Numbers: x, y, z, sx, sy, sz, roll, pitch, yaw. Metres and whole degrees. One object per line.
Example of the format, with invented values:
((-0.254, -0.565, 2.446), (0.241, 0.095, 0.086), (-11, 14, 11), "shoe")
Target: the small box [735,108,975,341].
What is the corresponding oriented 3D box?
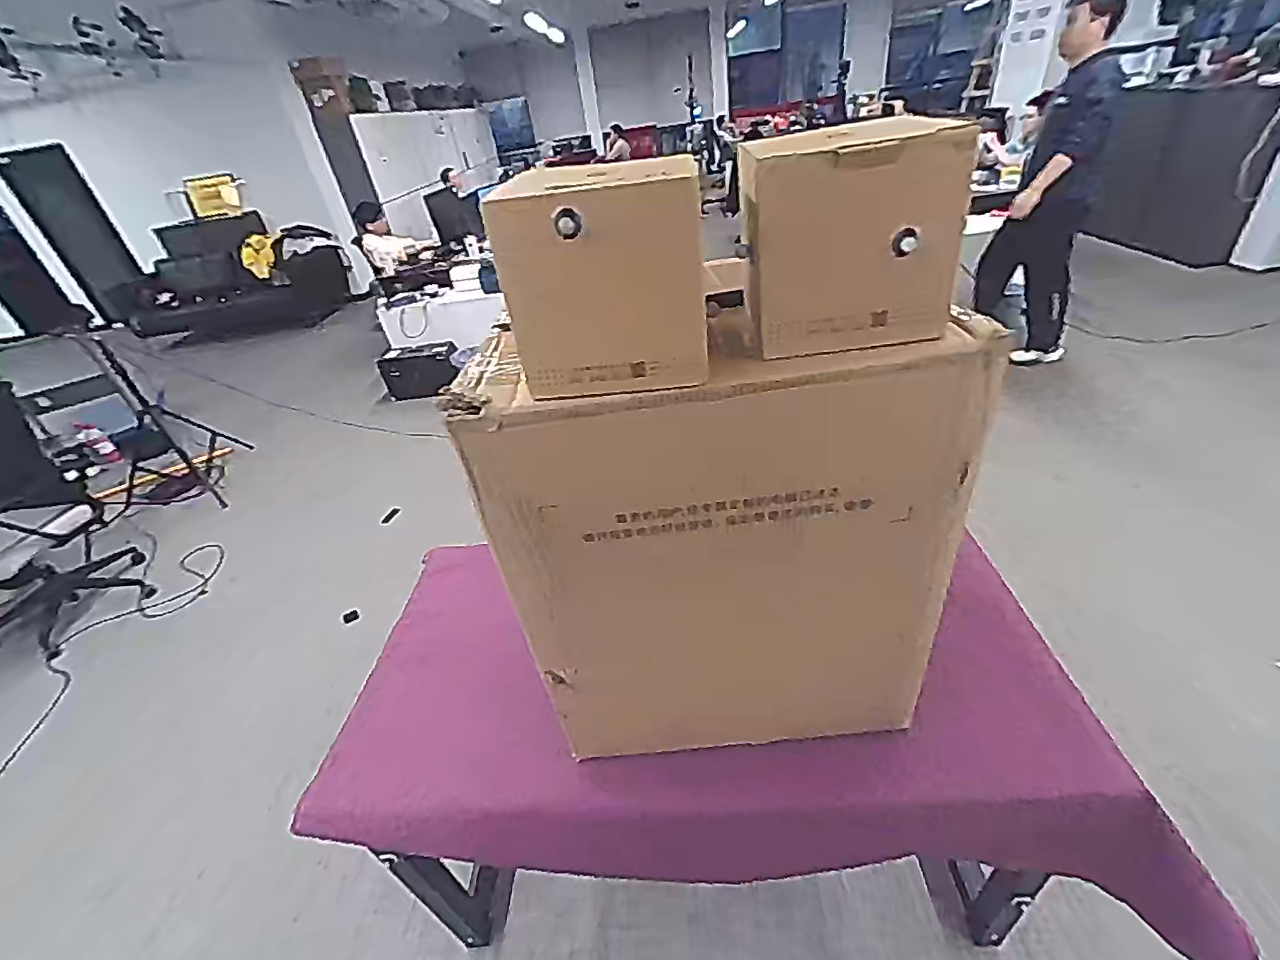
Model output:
((0.185, -0.239, 0.517), (0.168, 0.176, 0.179), (-5, 33, 7), "small box")
